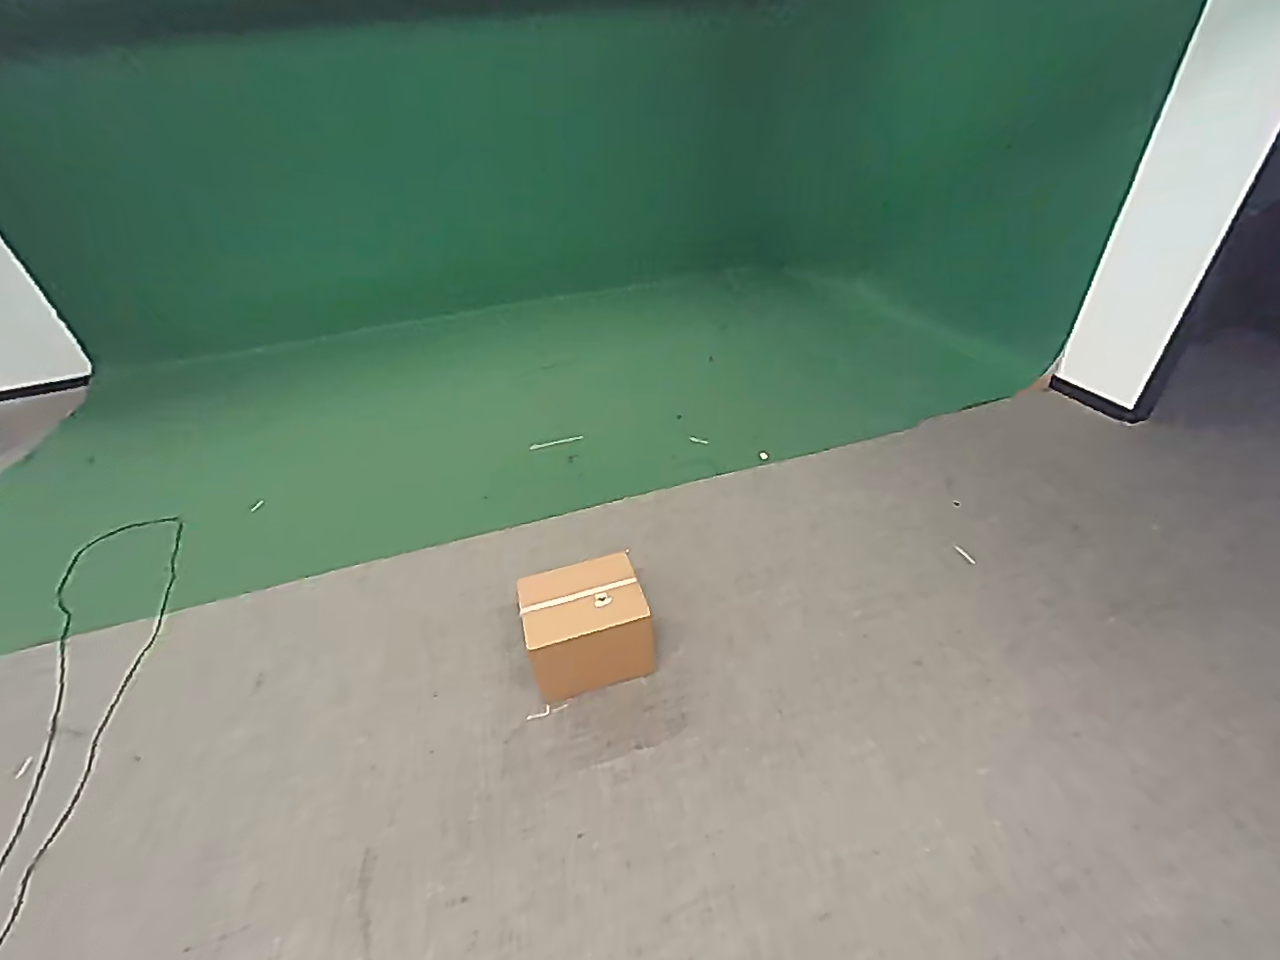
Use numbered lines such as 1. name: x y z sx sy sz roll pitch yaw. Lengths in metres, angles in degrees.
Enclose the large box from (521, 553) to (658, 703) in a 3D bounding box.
1. large box: -0.177 0.516 1.901 0.408 0.320 0.320 -13 37 -11
